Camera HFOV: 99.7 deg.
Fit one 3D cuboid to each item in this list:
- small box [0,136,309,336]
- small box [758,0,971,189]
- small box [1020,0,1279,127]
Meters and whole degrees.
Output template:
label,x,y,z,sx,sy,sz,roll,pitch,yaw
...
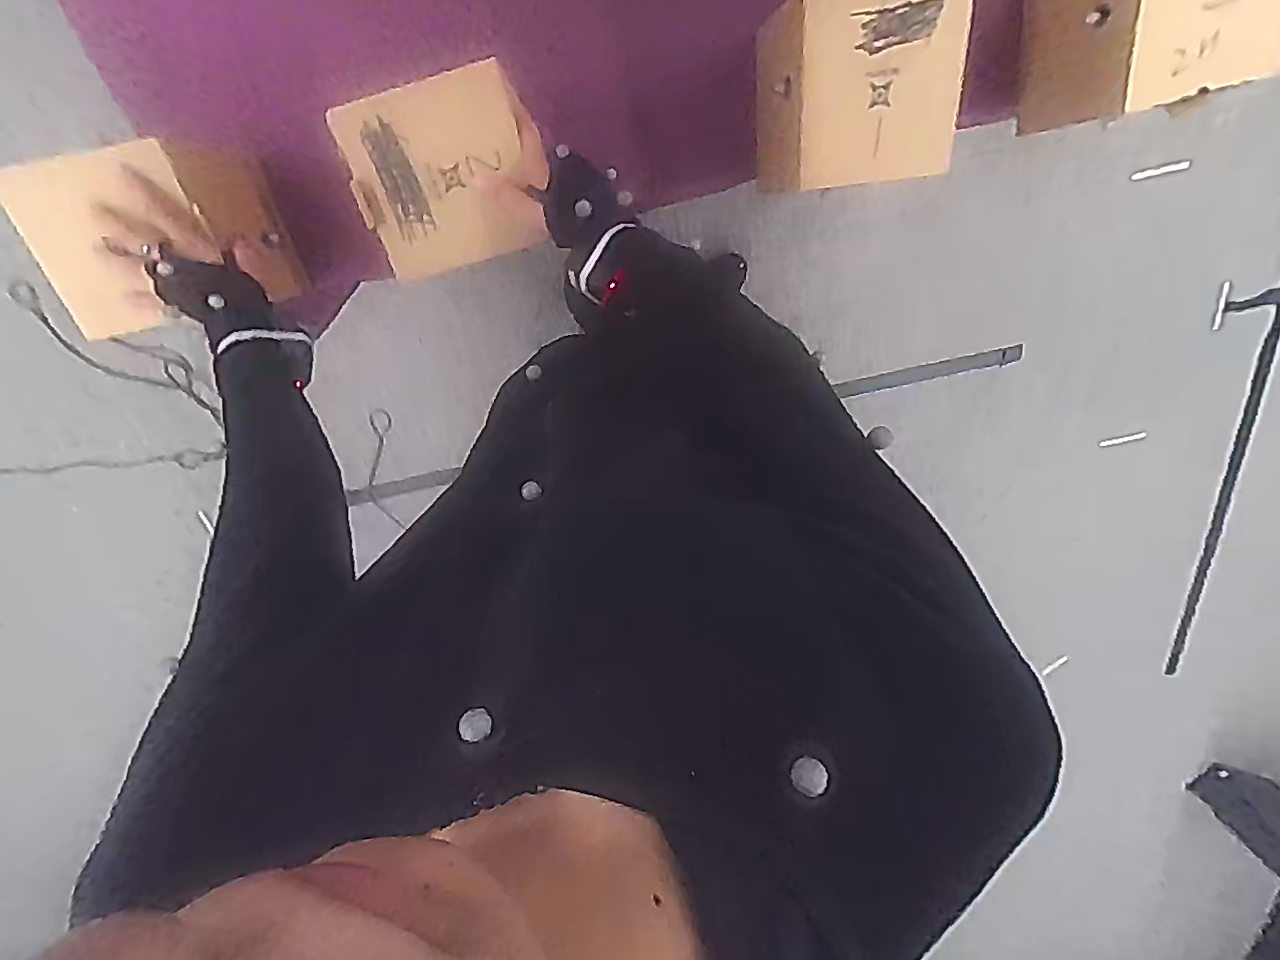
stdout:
label,x,y,z,sx,sy,sz,roll,pitch,yaw
small box,-0.533,-0.277,0.625,0.179,0.176,0.168,-12,116,0
small box,0.234,-0.436,0.610,0.168,0.176,0.179,-7,118,-1
small box,0.557,-0.518,0.594,0.168,0.176,0.179,-13,116,3
